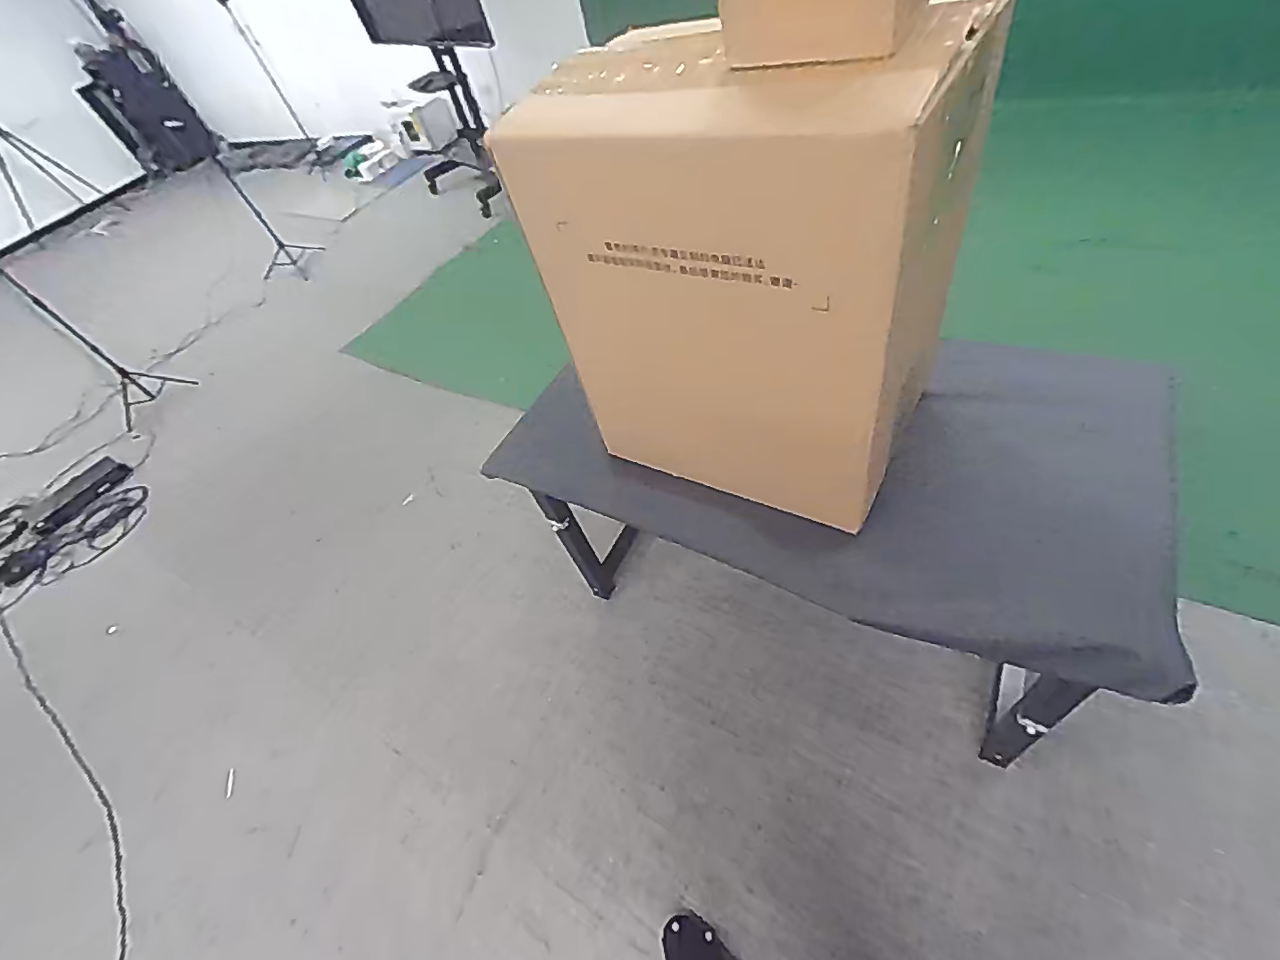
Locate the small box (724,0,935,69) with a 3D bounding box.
[{"bbox_3d":[0.184,-0.525,0.516,0.179,0.176,0.168,20,66,30],"label":"small box"}]
